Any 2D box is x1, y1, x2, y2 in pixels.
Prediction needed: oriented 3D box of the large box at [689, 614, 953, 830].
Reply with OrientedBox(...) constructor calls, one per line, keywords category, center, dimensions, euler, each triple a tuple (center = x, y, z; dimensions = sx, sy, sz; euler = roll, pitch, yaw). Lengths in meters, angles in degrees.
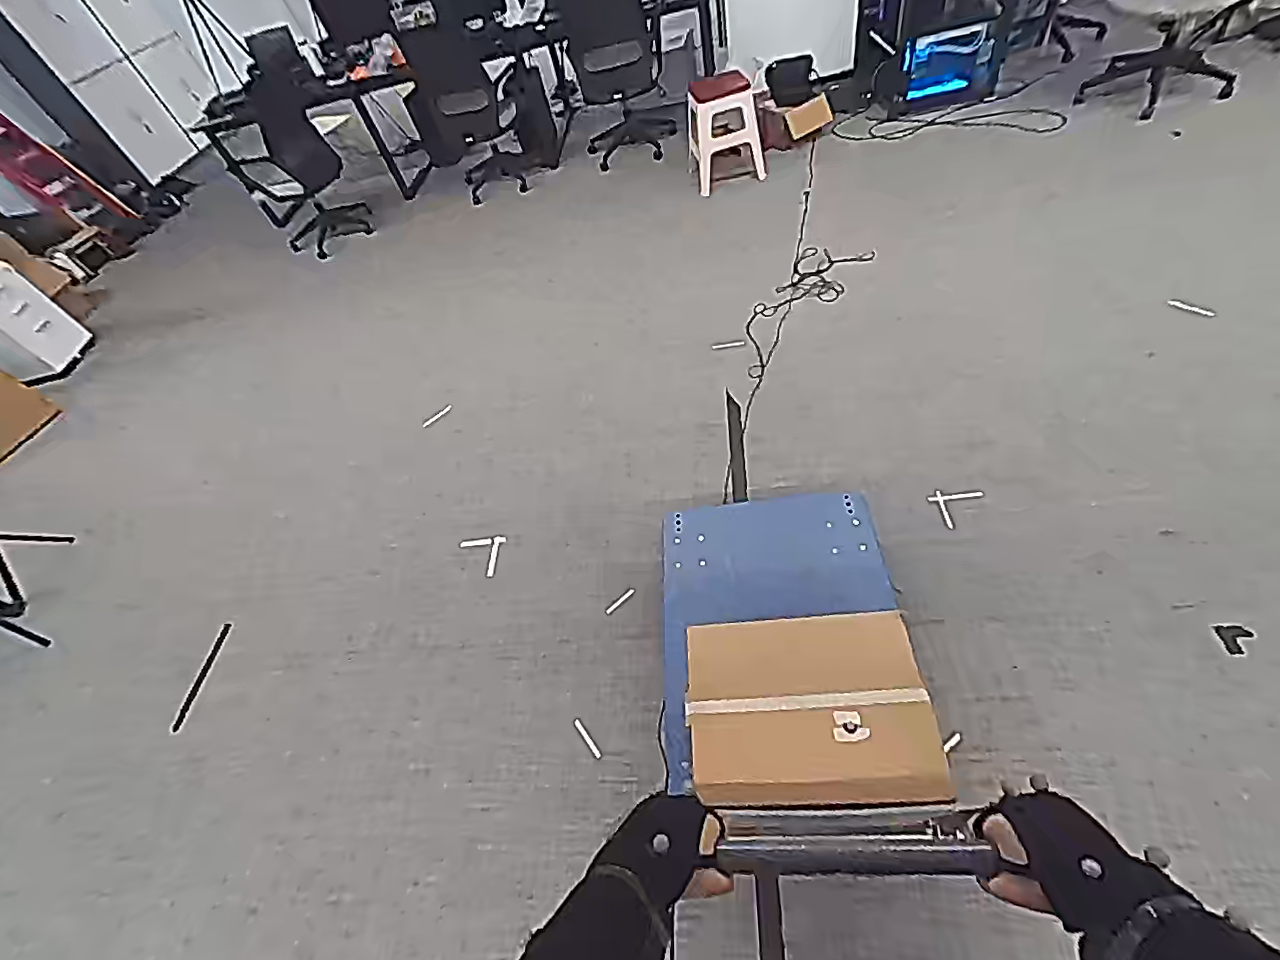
OrientedBox(category="large box", center=(0.322, 0.490, 1.074), dimensions=(0.408, 0.320, 0.320), euler=(-7, 52, 9))
